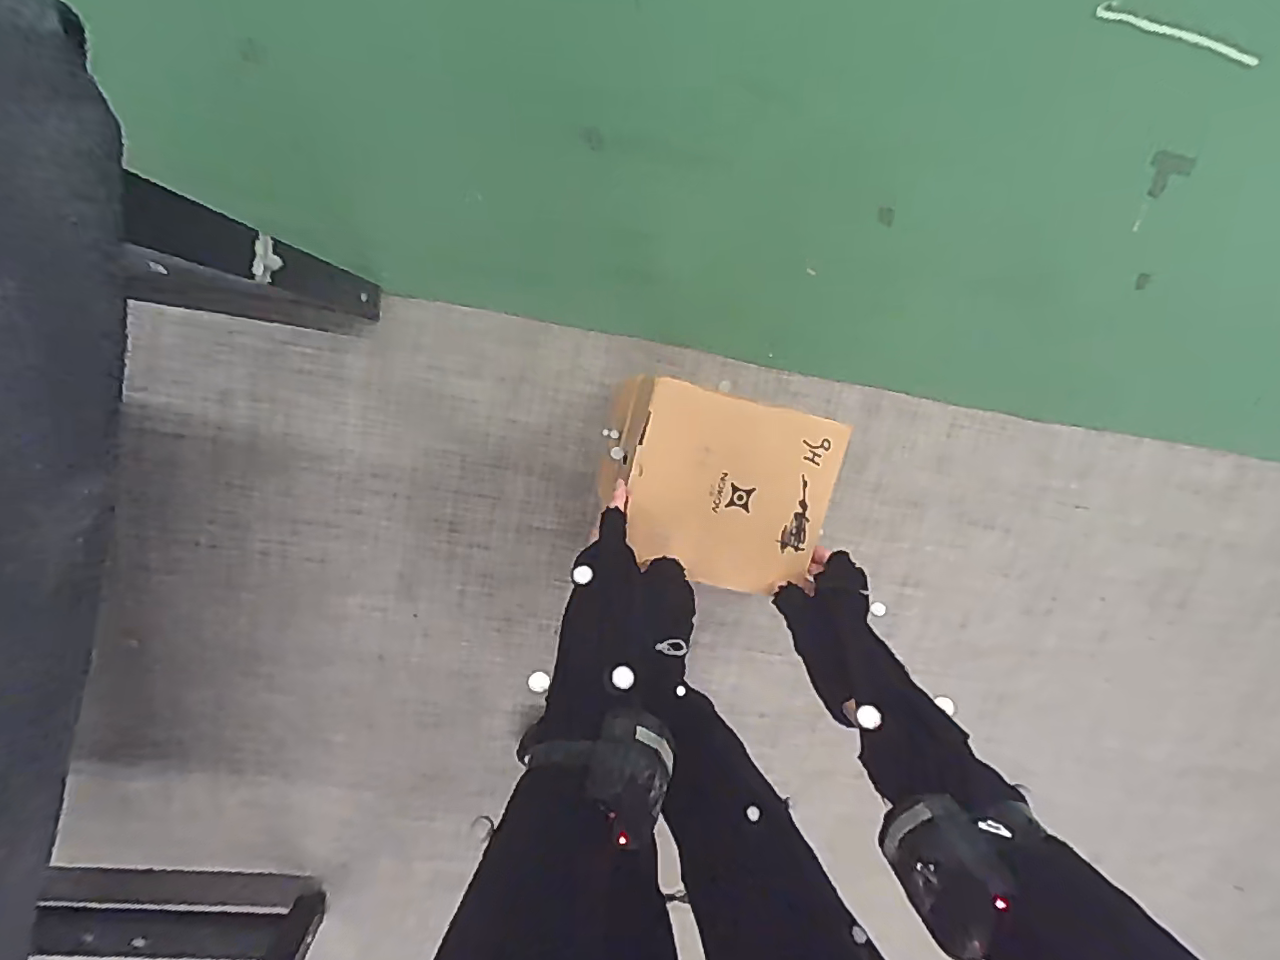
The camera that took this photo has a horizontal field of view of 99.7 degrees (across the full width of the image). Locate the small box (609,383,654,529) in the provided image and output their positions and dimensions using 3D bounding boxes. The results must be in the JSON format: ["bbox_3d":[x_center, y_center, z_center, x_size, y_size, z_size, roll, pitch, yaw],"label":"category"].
[{"bbox_3d":[0.055,-0.021,0.704,0.168,0.176,0.179,13,99,-6],"label":"small box"}]

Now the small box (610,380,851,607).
[{"bbox_3d":[0.074,0.004,0.544,0.179,0.176,0.168,14,98,-5],"label":"small box"}]
